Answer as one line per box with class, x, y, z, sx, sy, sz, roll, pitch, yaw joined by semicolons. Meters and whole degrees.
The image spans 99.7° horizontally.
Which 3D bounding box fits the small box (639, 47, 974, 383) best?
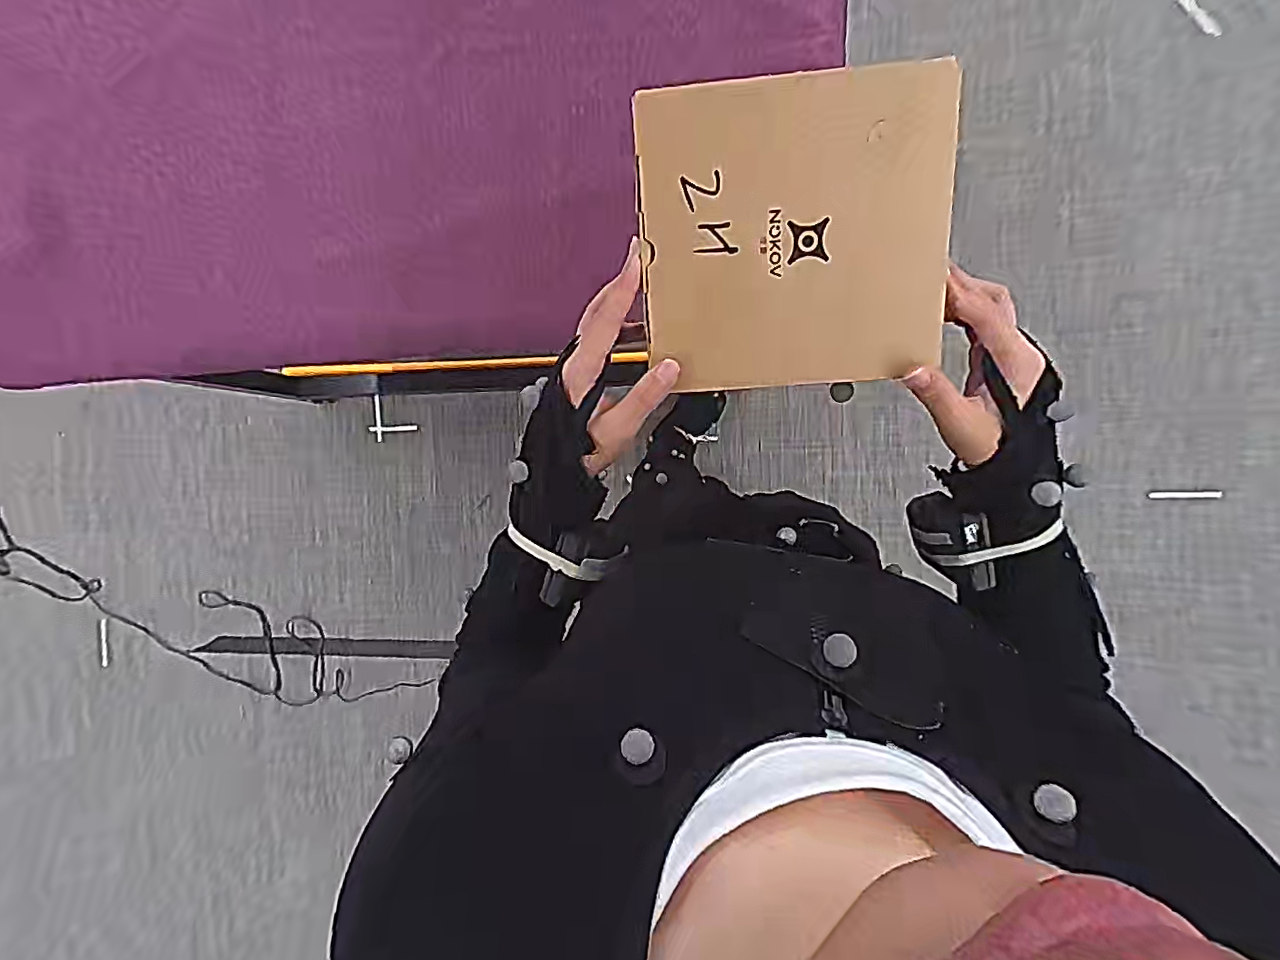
small box;0.094;-0.163;0.380;0.179;0.176;0.168;-3;105;5
